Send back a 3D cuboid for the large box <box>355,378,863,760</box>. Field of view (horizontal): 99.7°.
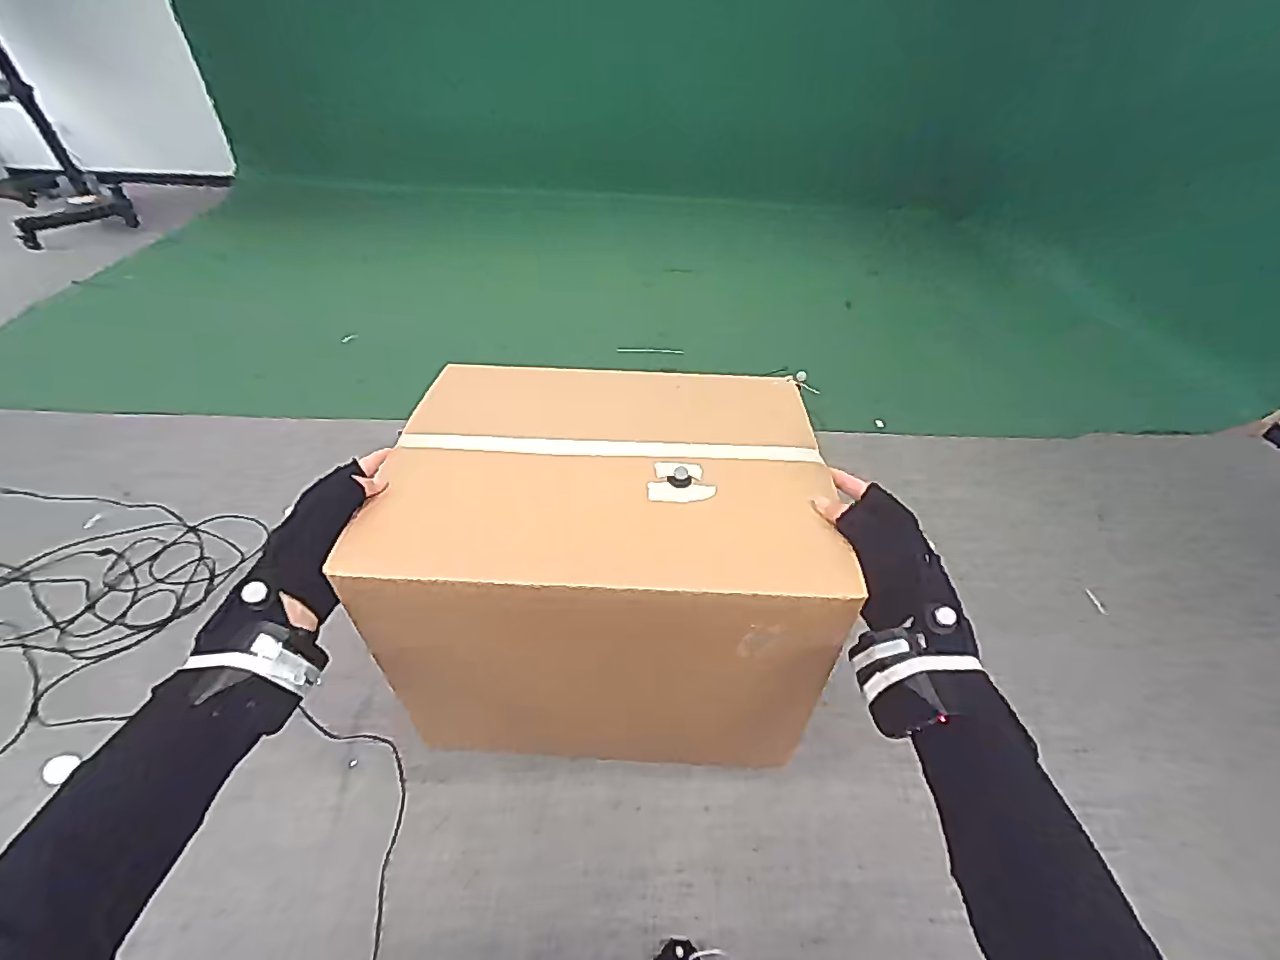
[{"bbox_3d":[-0.027,0.098,0.623,0.408,0.320,0.320,3,41,0],"label":"large box"}]
